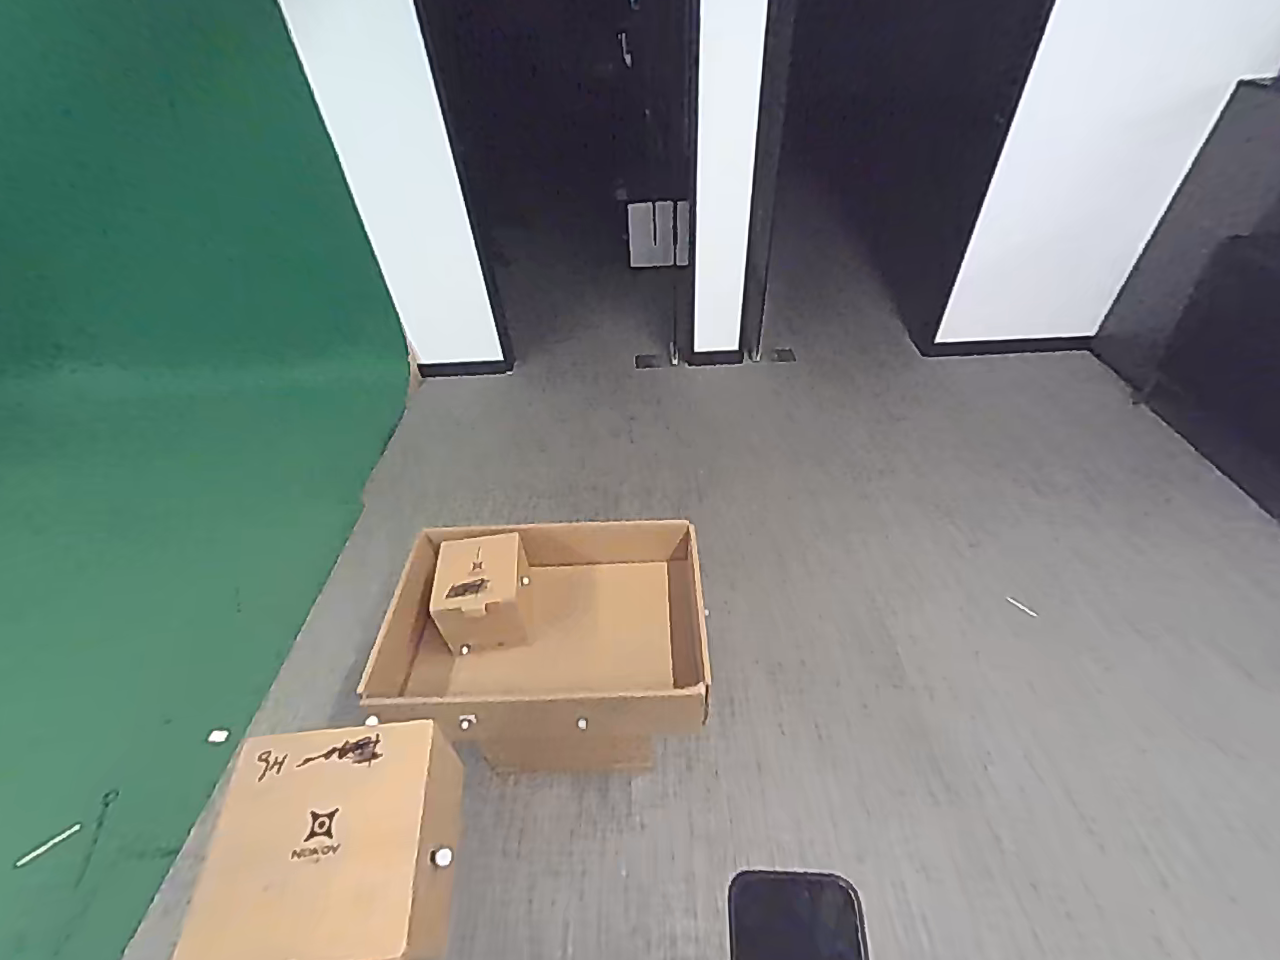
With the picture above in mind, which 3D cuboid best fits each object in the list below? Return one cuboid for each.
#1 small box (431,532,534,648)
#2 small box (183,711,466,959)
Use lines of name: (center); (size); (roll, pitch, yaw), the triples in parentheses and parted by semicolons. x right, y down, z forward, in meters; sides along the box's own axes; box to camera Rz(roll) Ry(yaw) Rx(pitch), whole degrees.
small box: (-0.320, 0.237, 1.138); (0.168, 0.176, 0.179); (-7, 42, -3)
small box: (-0.268, 0.341, 0.513); (0.168, 0.176, 0.179); (-3, 50, -8)
